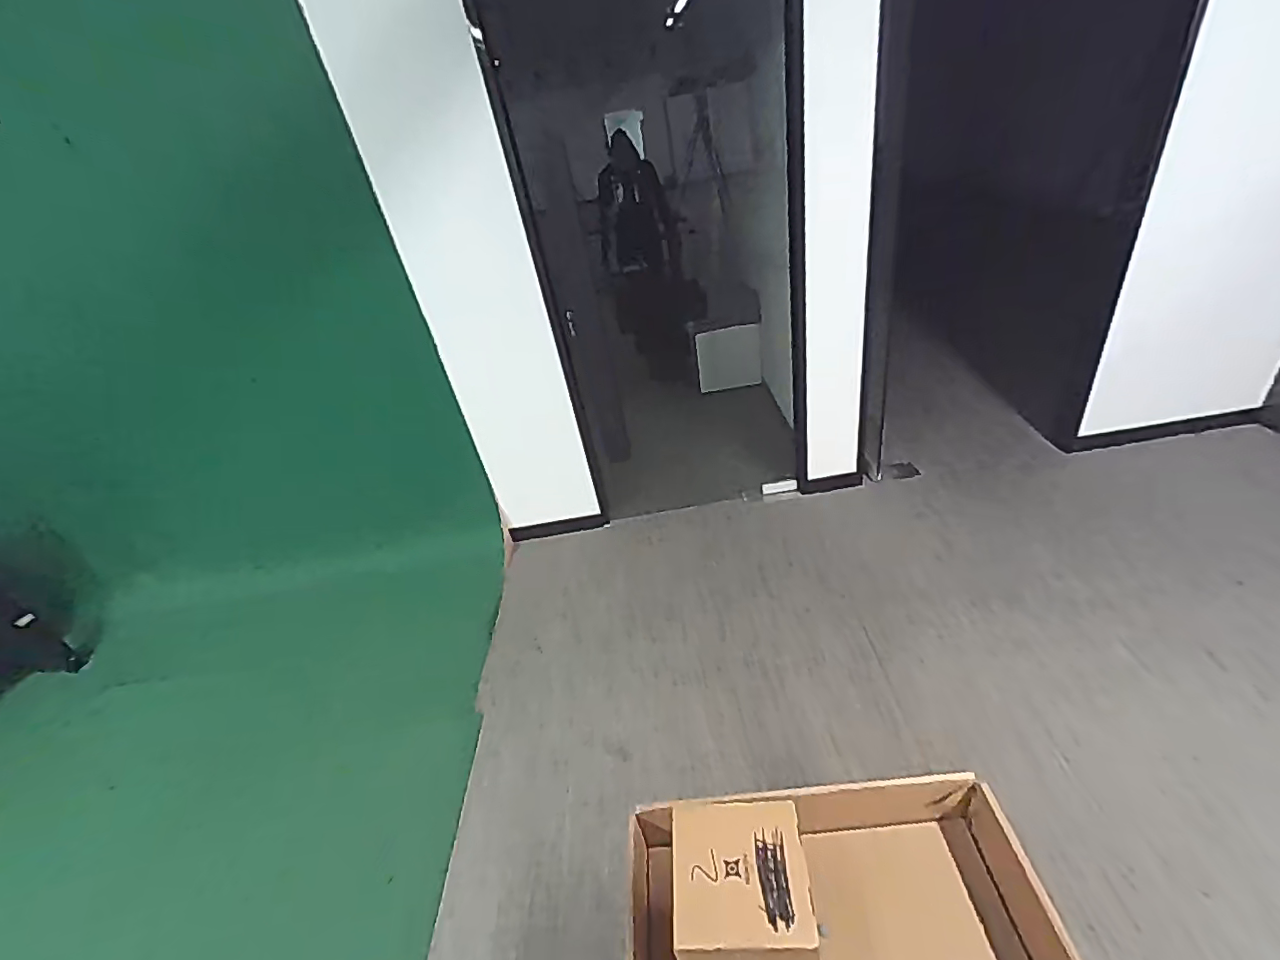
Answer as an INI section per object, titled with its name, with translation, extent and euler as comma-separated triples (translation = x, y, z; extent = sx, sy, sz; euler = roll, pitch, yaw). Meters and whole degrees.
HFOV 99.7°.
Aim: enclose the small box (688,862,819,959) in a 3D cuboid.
[small box]
translation = 0.172, 0.710, 0.820
extent = 0.179, 0.176, 0.168
euler = -8, 32, 7
